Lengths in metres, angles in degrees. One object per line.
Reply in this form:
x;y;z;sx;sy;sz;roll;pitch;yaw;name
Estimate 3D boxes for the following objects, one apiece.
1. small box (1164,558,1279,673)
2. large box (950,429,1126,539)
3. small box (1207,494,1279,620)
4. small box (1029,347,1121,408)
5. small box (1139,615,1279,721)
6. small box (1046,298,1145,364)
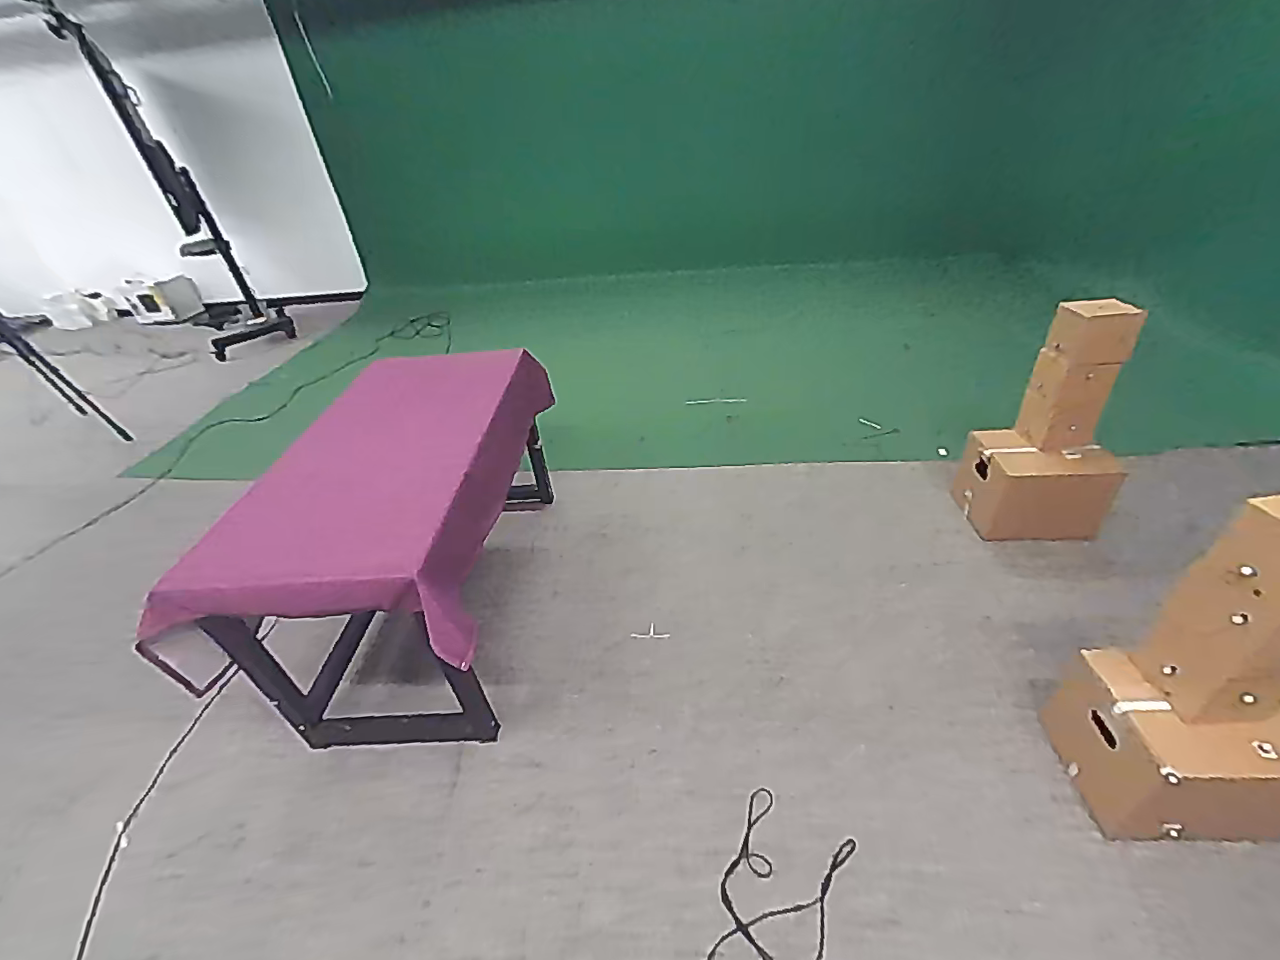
1.237;0.272;1.089;0.168;0.176;0.179;-4;35;2;small box
1.503;0.015;2.089;0.408;0.320;0.320;-2;36;5;large box
1.229;0.139;0.992;0.179;0.176;0.168;-6;35;0;small box
1.530;-0.366;1.915;0.179;0.176;0.168;-3;33;5;small box
1.255;0.407;1.183;0.179;0.176;0.168;-5;35;3;small box
1.522;-0.500;1.822;0.179;0.176;0.168;-2;32;7;small box
